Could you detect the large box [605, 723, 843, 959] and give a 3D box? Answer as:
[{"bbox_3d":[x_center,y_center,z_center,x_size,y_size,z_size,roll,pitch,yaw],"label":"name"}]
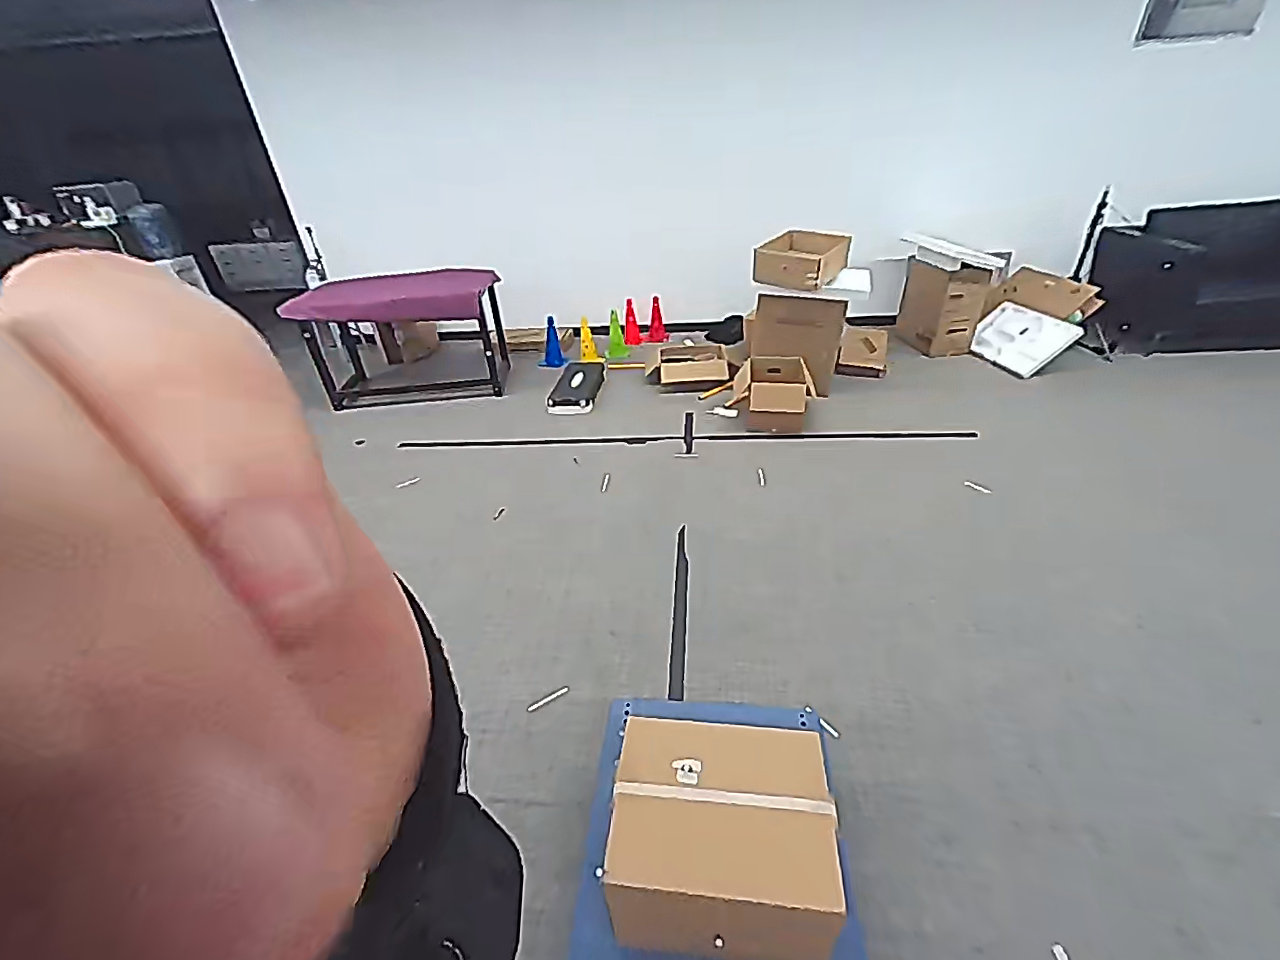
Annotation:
[{"bbox_3d":[0.166,0.735,1.107,0.408,0.320,0.320,0,32,9],"label":"large box"}]
